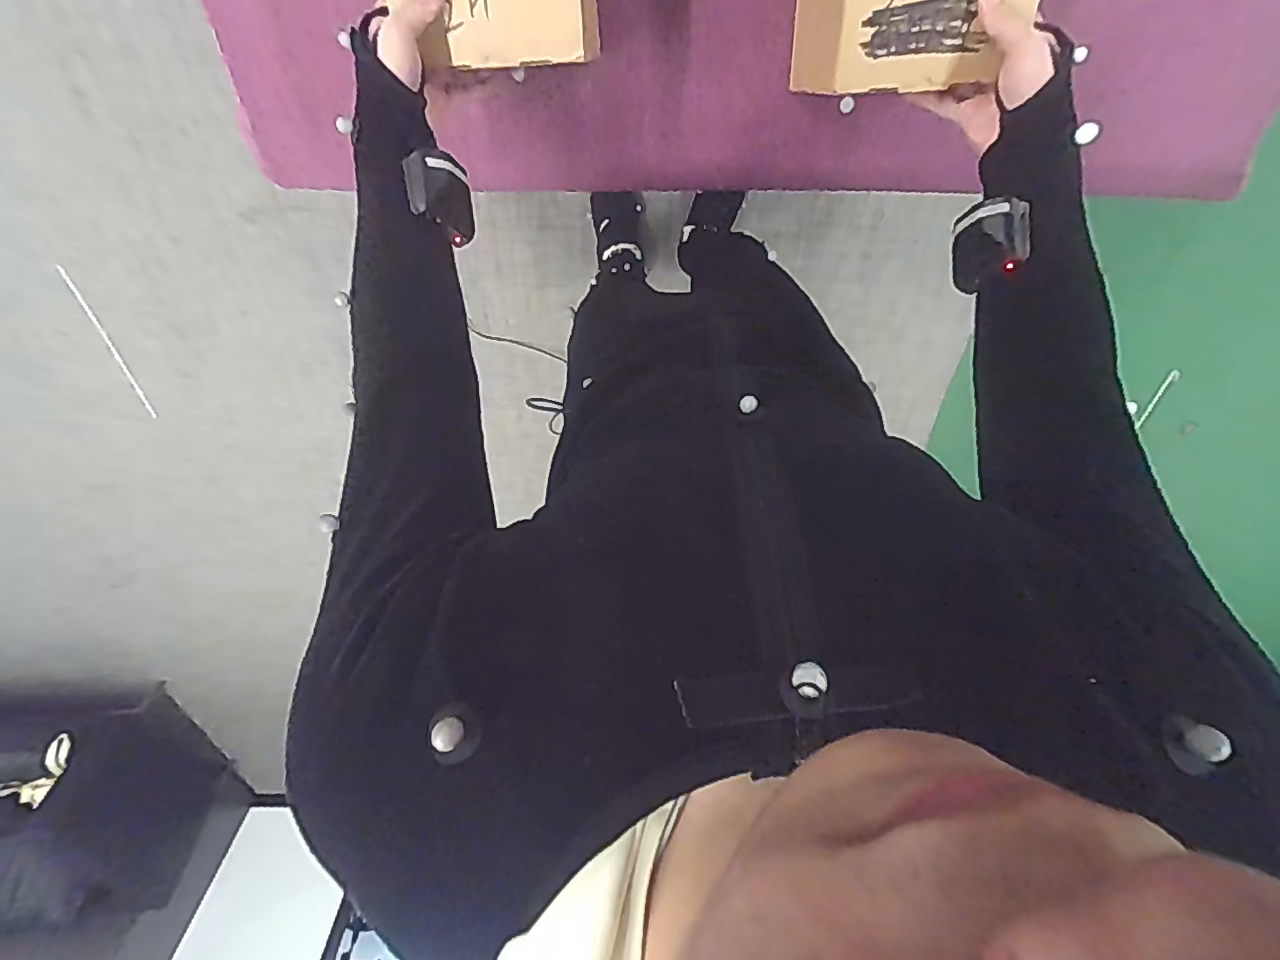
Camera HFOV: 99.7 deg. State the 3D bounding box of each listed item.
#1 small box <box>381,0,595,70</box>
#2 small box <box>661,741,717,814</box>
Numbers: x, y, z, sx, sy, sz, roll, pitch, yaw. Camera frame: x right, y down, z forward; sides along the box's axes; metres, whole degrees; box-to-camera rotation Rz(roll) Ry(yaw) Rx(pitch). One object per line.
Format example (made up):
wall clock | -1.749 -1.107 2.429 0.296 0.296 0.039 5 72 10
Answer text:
small box | -0.132 -0.478 0.480 0.168 0.176 0.179 0 130 2
small box | 0.172 1.070 1.949 0.168 0.176 0.179 9 127 -5
